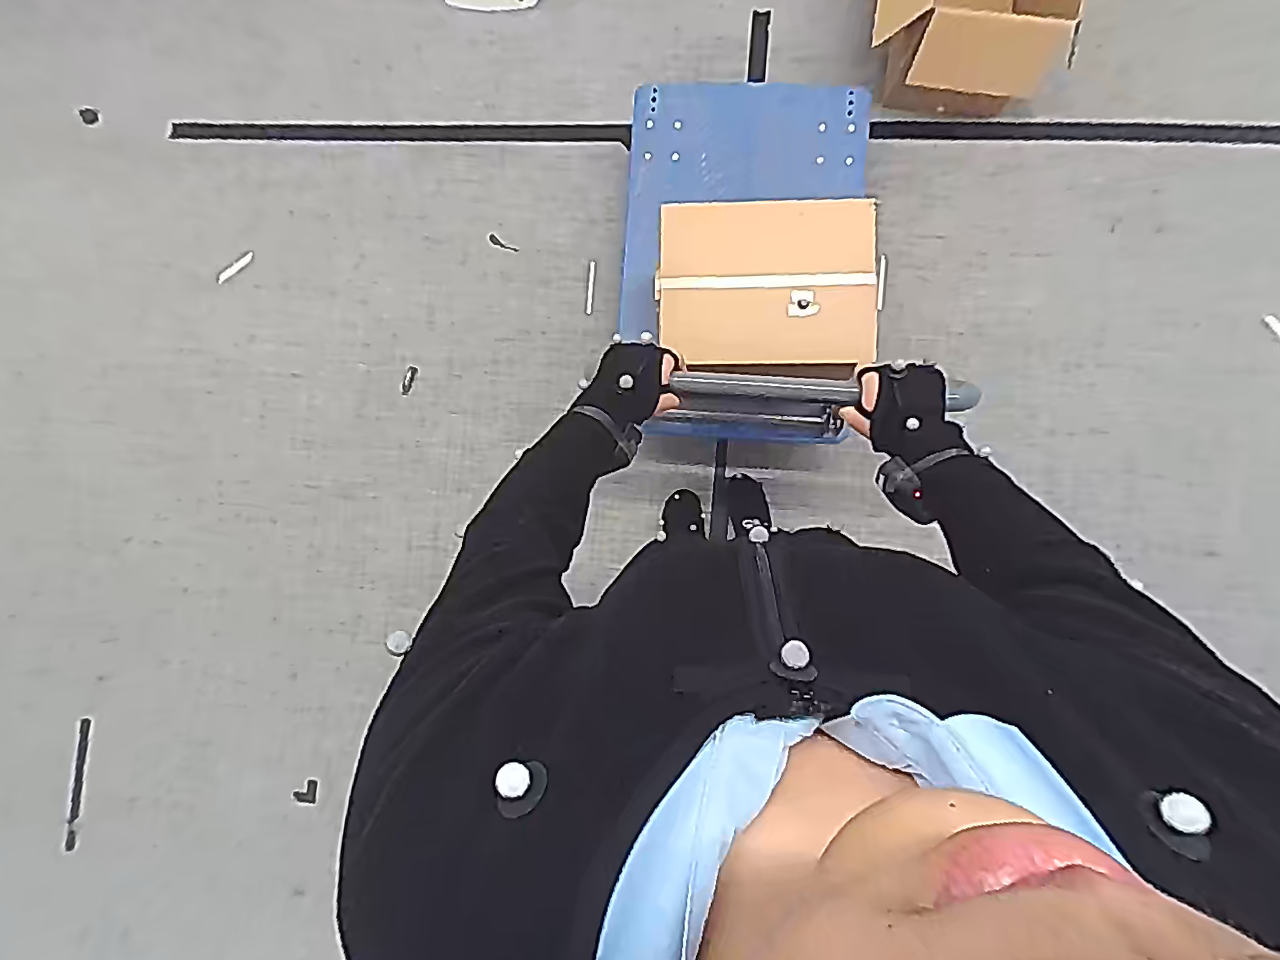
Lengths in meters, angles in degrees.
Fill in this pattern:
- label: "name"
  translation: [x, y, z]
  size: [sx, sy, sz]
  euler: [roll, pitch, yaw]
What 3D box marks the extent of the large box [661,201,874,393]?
- label: "large box"
  translation: [0.249, -0.374, 1.184]
  size: [0.408, 0.320, 0.320]
  euler: [0, 89, 3]
